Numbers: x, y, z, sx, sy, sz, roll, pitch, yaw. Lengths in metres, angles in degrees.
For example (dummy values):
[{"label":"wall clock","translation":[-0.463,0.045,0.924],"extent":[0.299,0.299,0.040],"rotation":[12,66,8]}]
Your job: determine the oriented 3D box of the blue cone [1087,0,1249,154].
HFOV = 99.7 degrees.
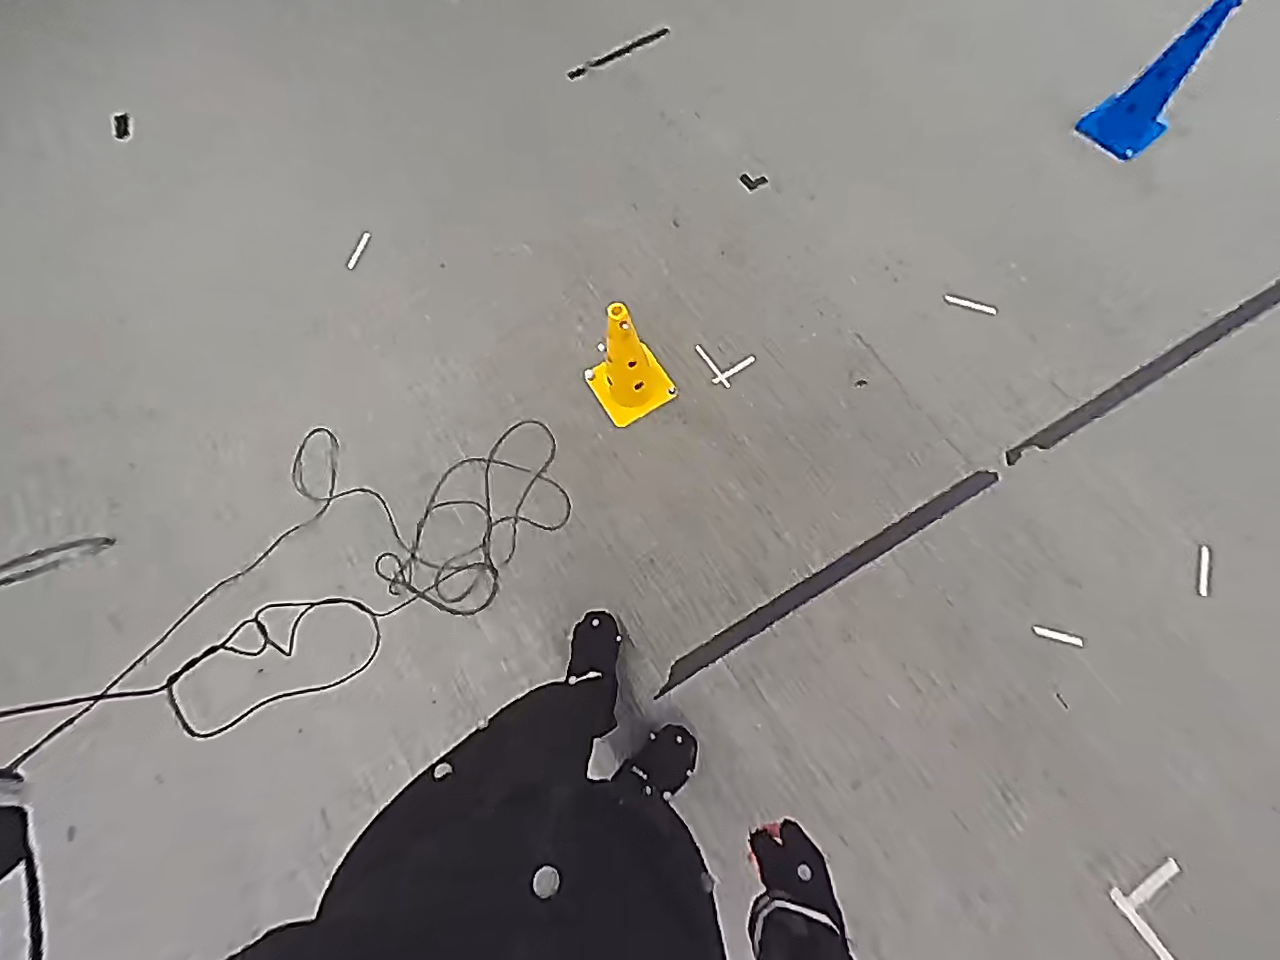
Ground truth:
[{"label":"blue cone","translation":[1.470,-1.136,1.485],"extent":[0.193,0.380,0.192],"rotation":[-36,74,-7]}]
